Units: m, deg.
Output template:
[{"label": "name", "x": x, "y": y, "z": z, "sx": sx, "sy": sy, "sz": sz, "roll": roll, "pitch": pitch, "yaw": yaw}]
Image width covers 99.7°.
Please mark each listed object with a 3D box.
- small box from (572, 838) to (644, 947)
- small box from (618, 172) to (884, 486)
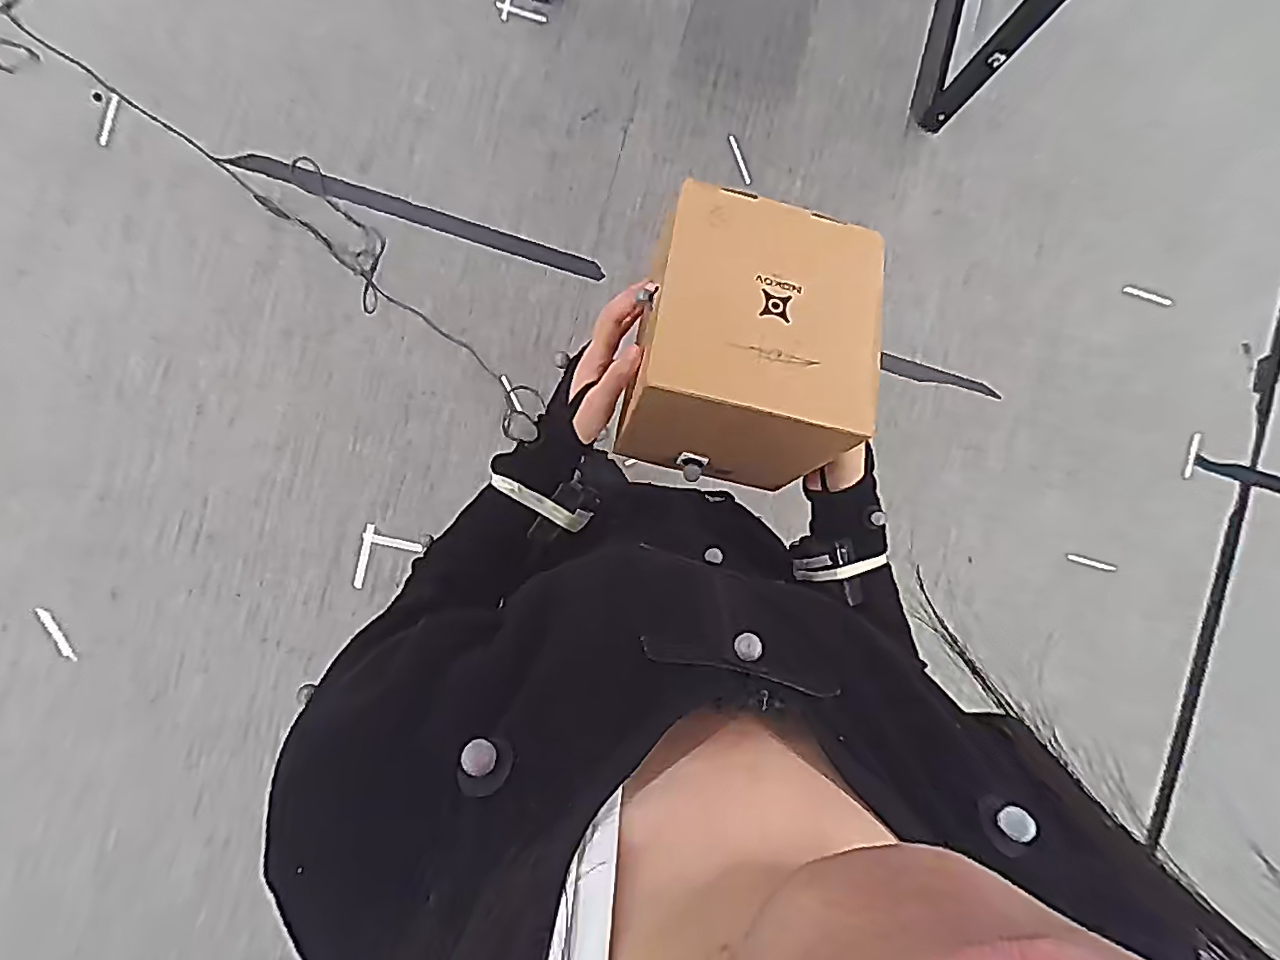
[{"label": "small box", "x": -0.089, "y": 1.083, "z": 1.432, "sx": 0.179, "sy": 0.176, "sz": 0.168, "roll": 3, "pitch": 91, "yaw": -6}, {"label": "small box", "x": 0.082, "y": -0.109, "z": 0.461, "sx": 0.168, "sy": 0.176, "sz": 0.179, "roll": 12, "pitch": 74, "yaw": -7}]
